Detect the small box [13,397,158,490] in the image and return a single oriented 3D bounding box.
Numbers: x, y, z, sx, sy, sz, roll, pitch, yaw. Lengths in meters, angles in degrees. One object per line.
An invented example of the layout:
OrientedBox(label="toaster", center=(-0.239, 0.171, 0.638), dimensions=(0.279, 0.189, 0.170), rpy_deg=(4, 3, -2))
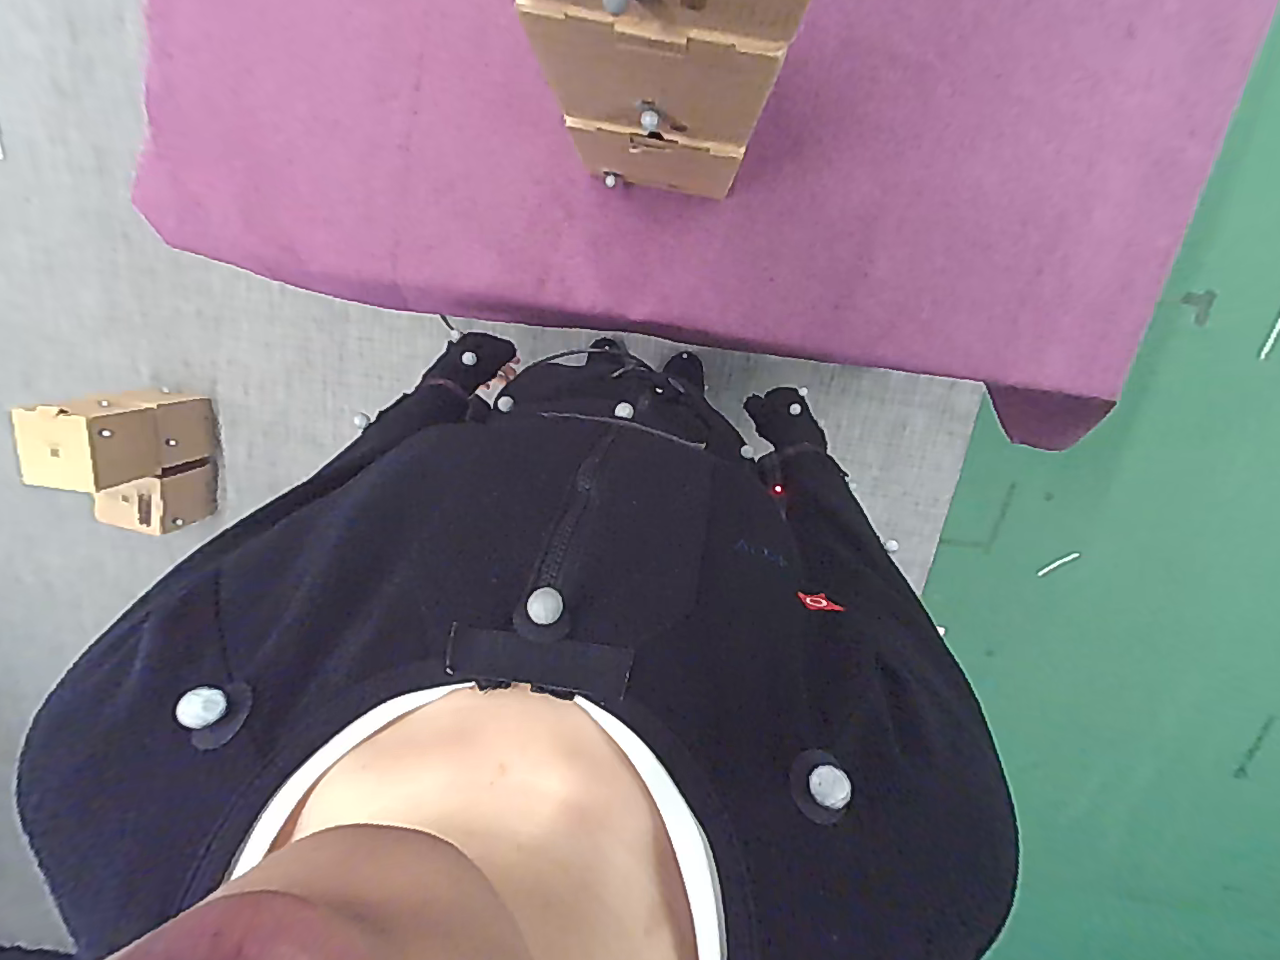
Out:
OrientedBox(label="small box", center=(-1.281, -0.091, 1.265), dimensions=(0.168, 0.176, 0.179), rpy_deg=(7, 105, 0))

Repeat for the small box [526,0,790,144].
OrientedBox(label="small box", center=(0.025, -0.374, 0.382), dimensions=(0.168, 0.176, 0.179), rpy_deg=(10, 106, 0))

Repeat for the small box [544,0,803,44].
OrientedBox(label="small box", center=(0.020, -0.335, 0.223), dimensions=(0.168, 0.176, 0.179), rpy_deg=(10, 105, 0))

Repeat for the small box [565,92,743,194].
OrientedBox(label="small box", center=(0.031, -0.409, 0.543), dimensions=(0.168, 0.176, 0.179), rpy_deg=(11, 105, -1))
